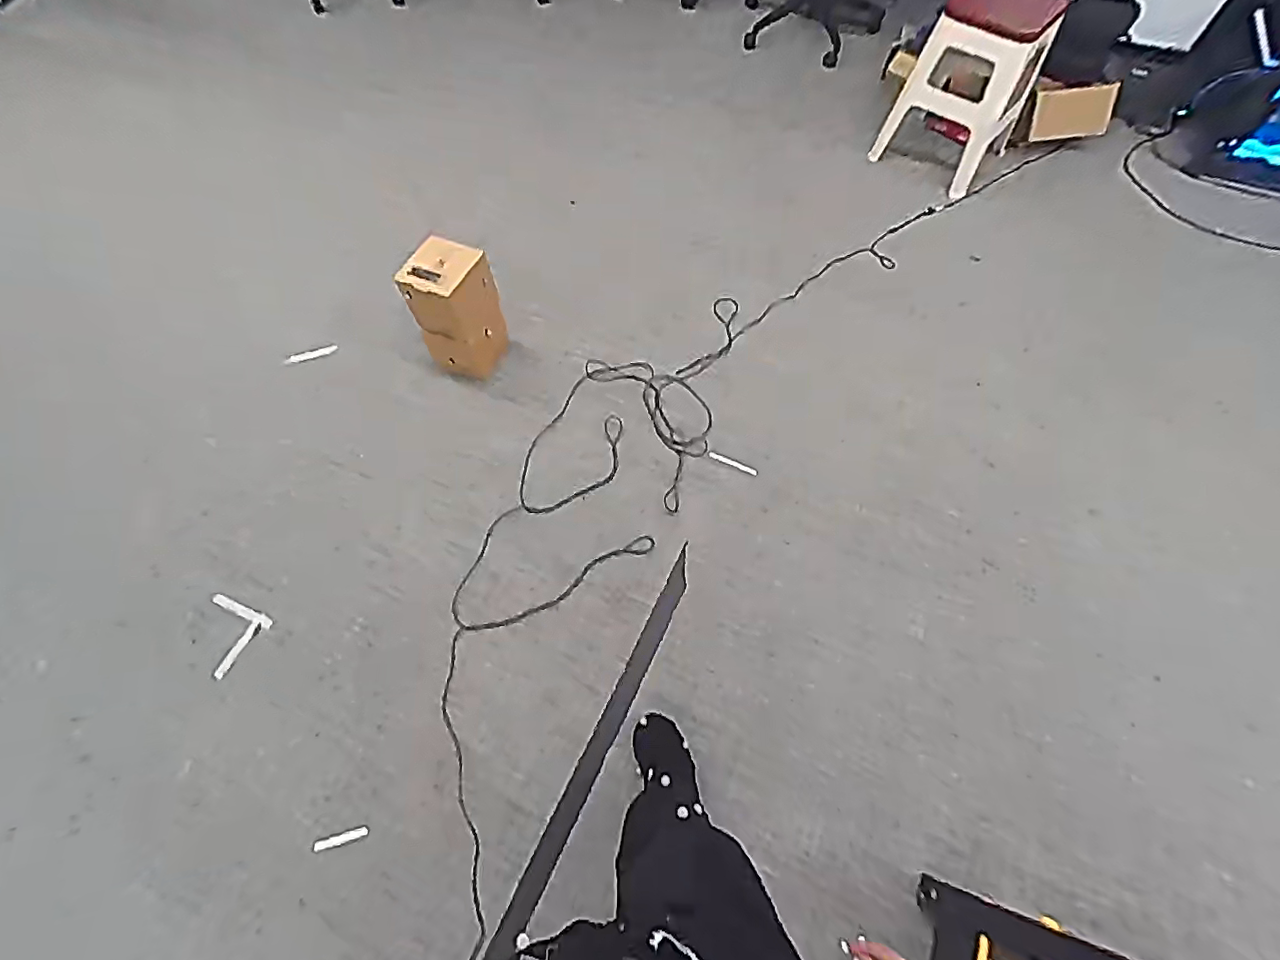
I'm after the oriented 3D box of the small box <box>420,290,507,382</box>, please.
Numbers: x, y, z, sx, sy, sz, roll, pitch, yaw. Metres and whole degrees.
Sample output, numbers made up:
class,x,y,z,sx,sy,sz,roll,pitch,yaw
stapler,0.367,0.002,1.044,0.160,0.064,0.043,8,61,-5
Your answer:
class,x,y,z,sx,sy,sz,roll,pitch,yaw
small box,-0.507,-0.420,1.589,0.168,0.176,0.179,17,65,9
